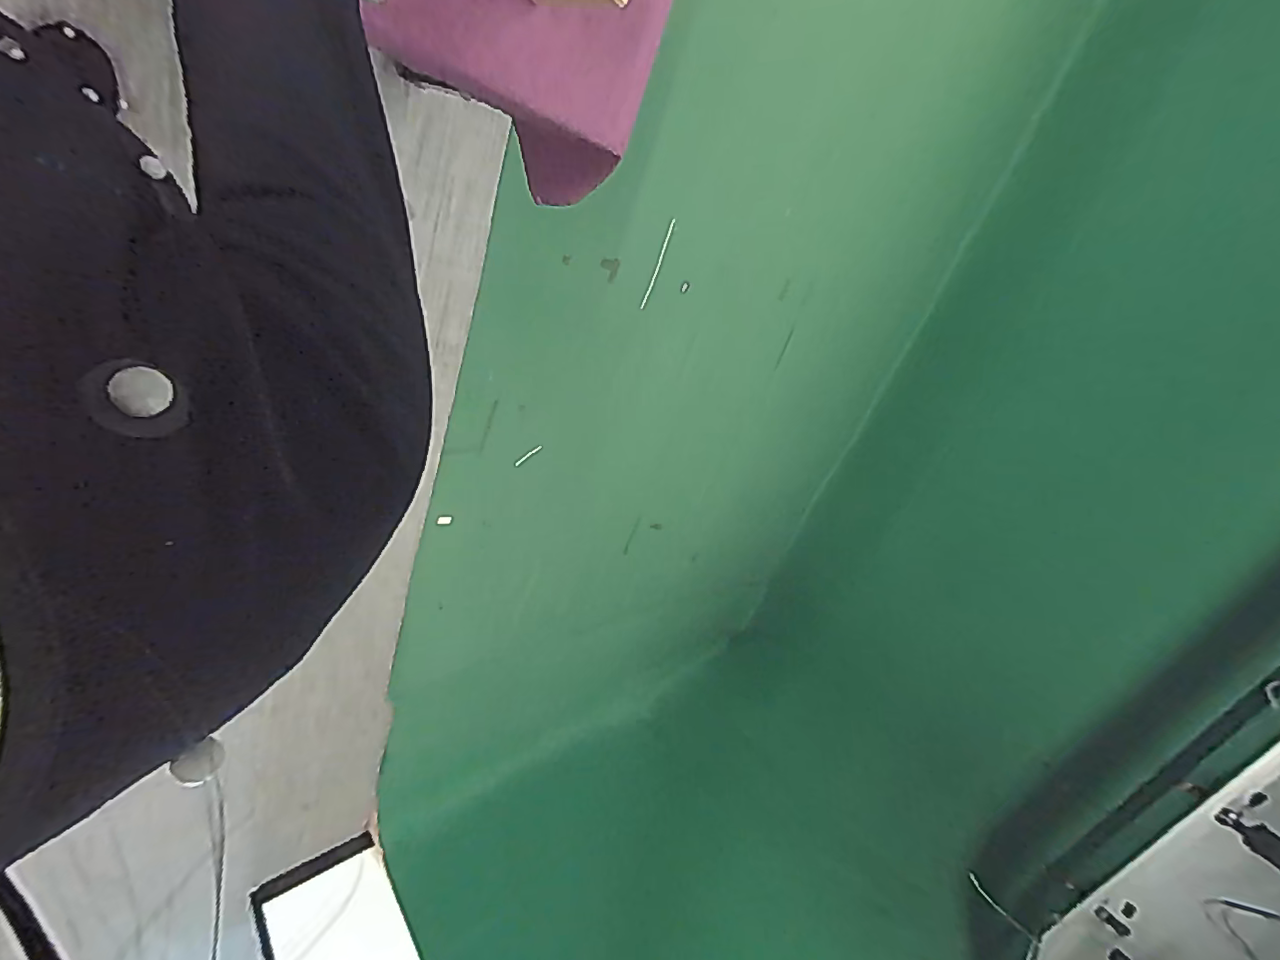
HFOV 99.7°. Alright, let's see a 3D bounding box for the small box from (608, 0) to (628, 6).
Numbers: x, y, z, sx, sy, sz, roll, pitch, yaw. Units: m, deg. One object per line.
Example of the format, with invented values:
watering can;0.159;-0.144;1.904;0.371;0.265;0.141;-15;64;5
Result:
small box;-0.078;-0.596;0.505;0.168;0.176;0.179;9;114;-51
